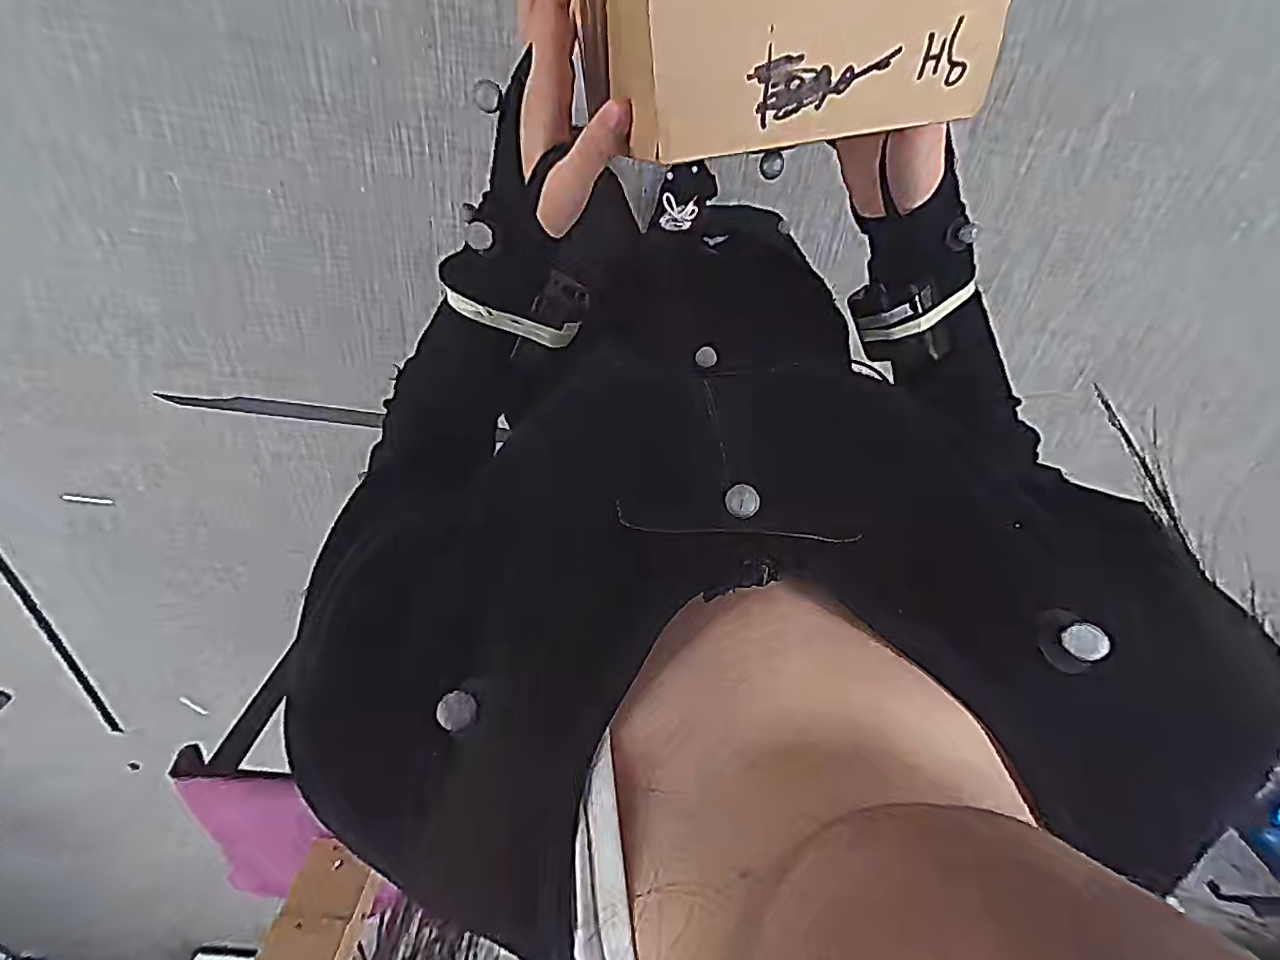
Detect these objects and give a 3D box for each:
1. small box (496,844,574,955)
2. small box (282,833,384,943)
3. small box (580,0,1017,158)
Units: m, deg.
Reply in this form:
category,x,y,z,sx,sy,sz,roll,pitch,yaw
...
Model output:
category,x,y,z,sx,sy,sz,roll,pitch,yaw
small box,-0.266,1.073,1.385,0.168,0.176,0.179,8,122,-3
small box,-0.772,1.039,1.381,0.168,0.176,0.179,10,122,-6
small box,0.059,-0.268,0.263,0.168,0.176,0.179,-13,125,-7
